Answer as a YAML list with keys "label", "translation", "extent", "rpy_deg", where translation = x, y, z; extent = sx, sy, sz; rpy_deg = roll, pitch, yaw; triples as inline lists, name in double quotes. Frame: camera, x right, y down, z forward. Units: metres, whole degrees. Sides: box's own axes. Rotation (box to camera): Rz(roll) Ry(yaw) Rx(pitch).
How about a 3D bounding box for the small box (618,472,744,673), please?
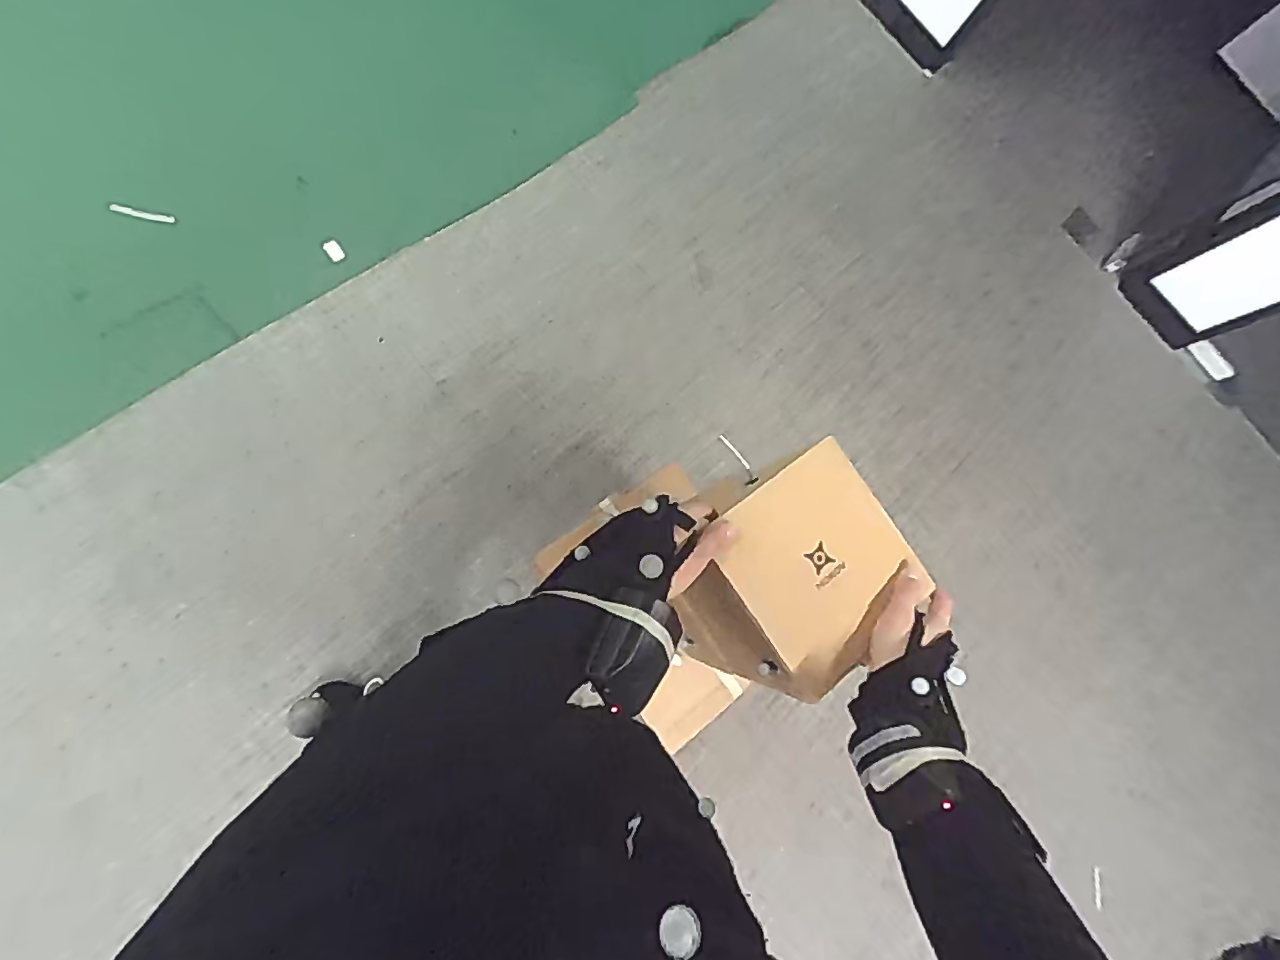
- label: "small box"
  translation: [0.094, 0.117, 0.703]
  extent: [0.168, 0.176, 0.179]
  rpy_deg: [-38, 88, -17]

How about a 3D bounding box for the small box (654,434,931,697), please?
- label: "small box"
  translation: [0.137, 0.085, 0.549]
  extent: [0.168, 0.176, 0.179]
  rpy_deg: [-35, 89, -16]

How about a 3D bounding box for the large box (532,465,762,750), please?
- label: "large box"
  translation: [0.026, 0.237, 1.088]
  extent: [0.320, 0.320, 0.408]
  rpy_deg: [-35, 89, -16]
